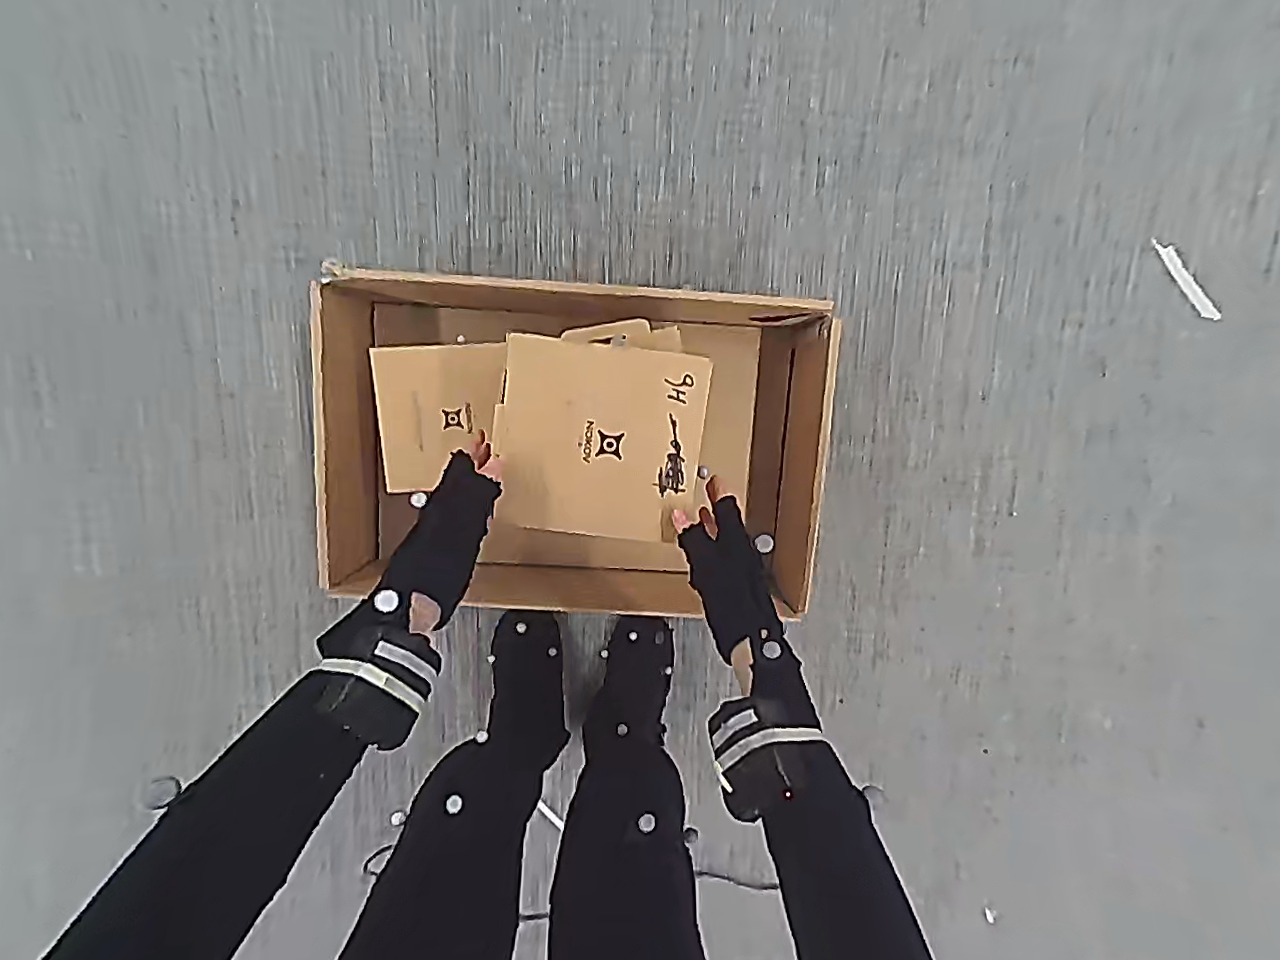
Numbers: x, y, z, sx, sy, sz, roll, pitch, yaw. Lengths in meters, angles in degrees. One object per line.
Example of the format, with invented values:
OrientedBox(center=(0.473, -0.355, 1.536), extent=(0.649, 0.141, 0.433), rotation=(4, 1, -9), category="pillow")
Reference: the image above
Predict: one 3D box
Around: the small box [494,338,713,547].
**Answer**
OrientedBox(center=(-0.033, -0.042, 0.547), extent=(0.179, 0.176, 0.168), rotation=(7, 99, -1), category="small box")
